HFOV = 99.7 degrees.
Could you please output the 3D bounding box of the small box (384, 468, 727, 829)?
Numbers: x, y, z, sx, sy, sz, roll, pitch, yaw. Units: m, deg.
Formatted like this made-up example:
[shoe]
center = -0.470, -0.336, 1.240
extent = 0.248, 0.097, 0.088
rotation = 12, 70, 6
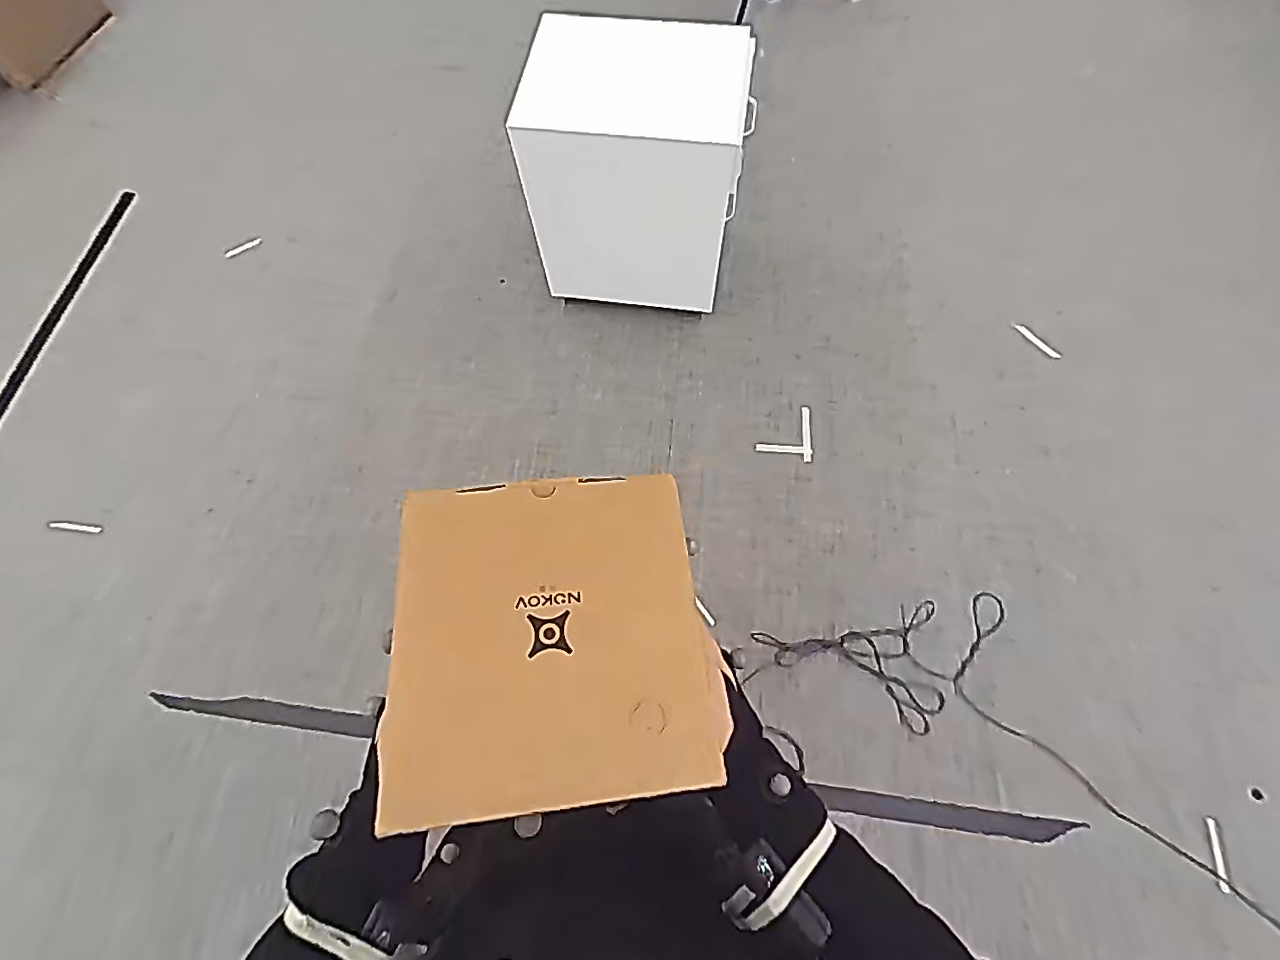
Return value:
[small box]
center = -0.051, 0.112, 0.361
extent = 0.168, 0.176, 0.179
rotation = -5, 62, -7
